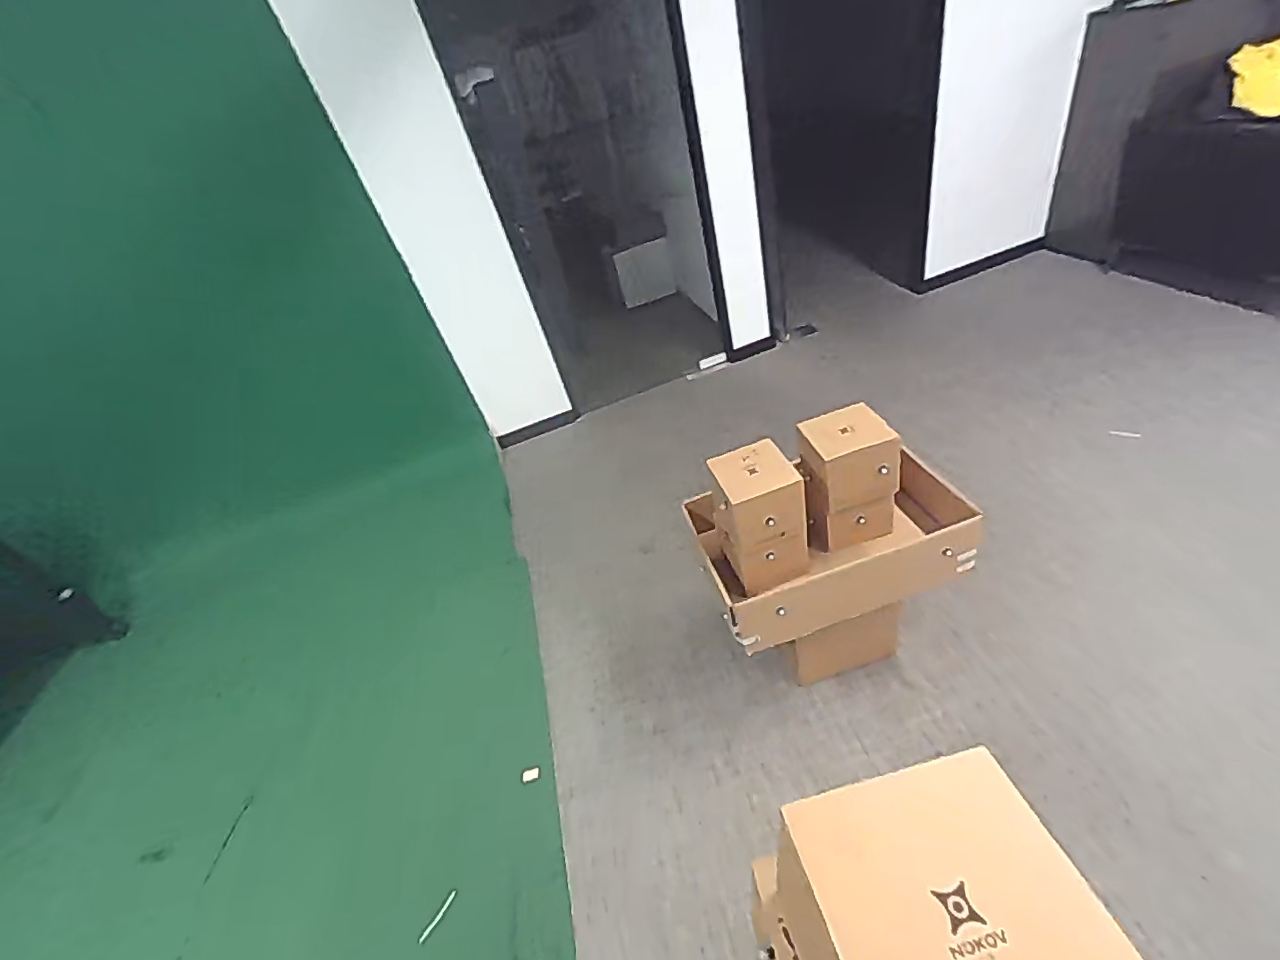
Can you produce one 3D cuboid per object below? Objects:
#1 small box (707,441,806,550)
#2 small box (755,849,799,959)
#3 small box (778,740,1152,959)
[{"bbox_3d":[0.275,0.042,1.269,0.168,0.176,0.179,-20,37,-2],"label":"small box"},{"bbox_3d":[0.209,0.443,0.483,0.179,0.176,0.168,-11,34,-2],"label":"small box"},{"bbox_3d":[0.202,0.321,0.371,0.168,0.176,0.179,-13,36,-5],"label":"small box"}]
